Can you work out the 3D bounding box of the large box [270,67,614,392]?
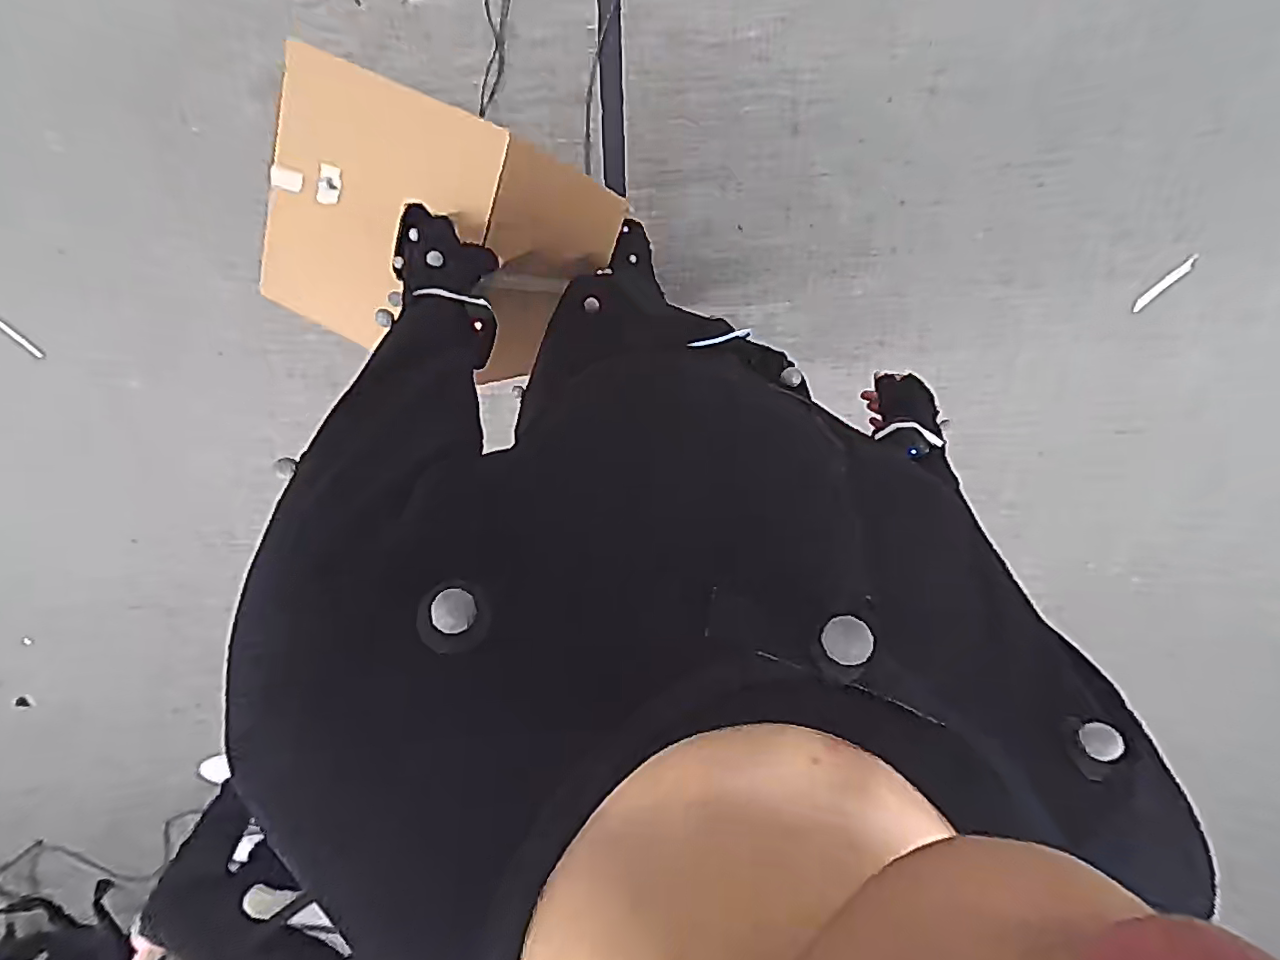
[{"bbox_3d":[-0.289,-0.369,0.860,0.320,0.408,0.320,27,113,8],"label":"large box"}]
